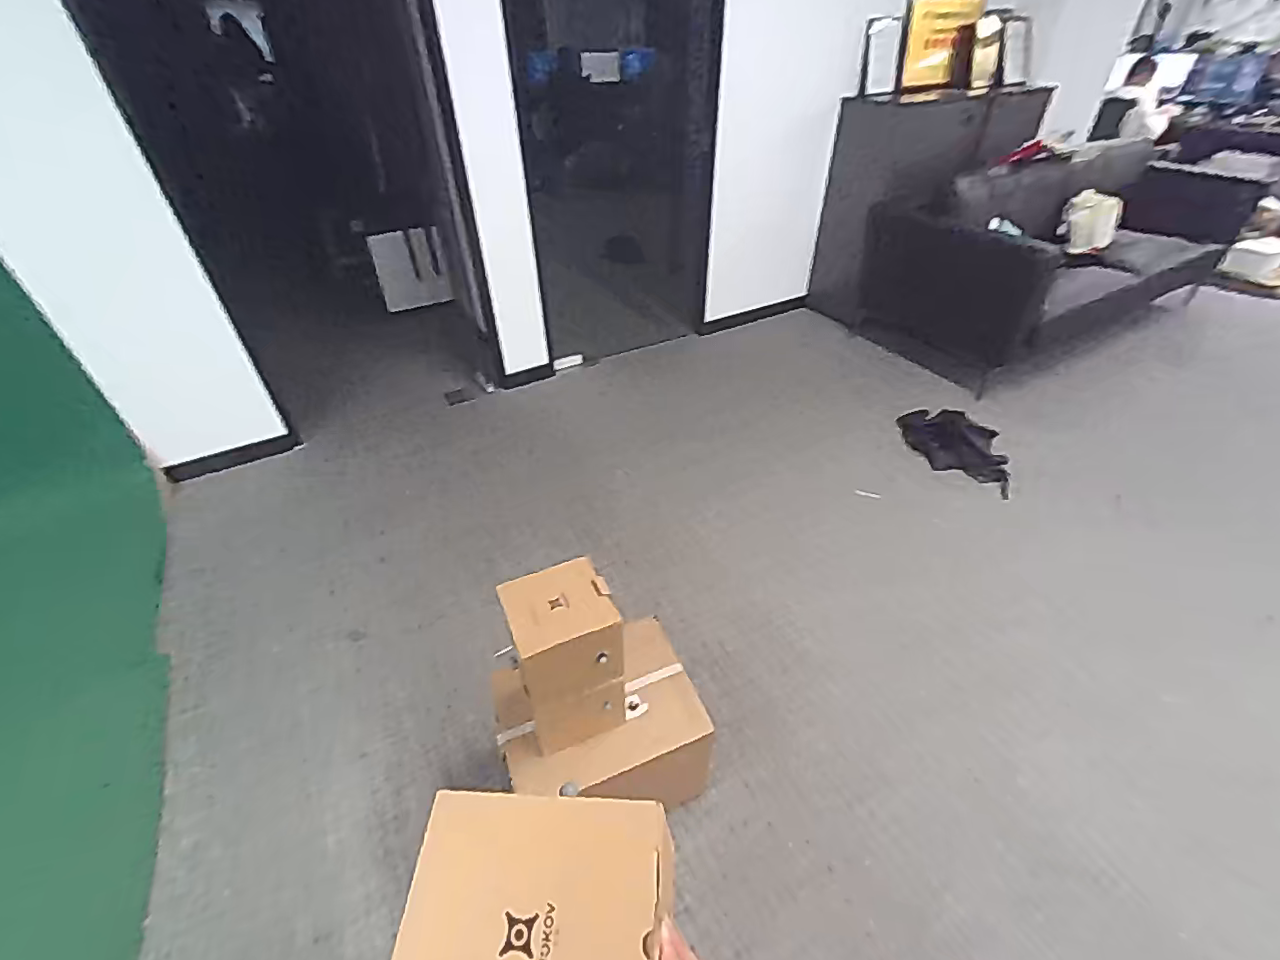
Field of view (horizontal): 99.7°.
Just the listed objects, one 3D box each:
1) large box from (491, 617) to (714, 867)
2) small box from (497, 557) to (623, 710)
[{"bbox_3d":[-0.088,0.585,1.234,0.408,0.320,0.320,-15,42,-18],"label":"large box"},{"bbox_3d":[-0.140,0.274,0.972,0.179,0.176,0.168,-18,41,-19],"label":"small box"}]
